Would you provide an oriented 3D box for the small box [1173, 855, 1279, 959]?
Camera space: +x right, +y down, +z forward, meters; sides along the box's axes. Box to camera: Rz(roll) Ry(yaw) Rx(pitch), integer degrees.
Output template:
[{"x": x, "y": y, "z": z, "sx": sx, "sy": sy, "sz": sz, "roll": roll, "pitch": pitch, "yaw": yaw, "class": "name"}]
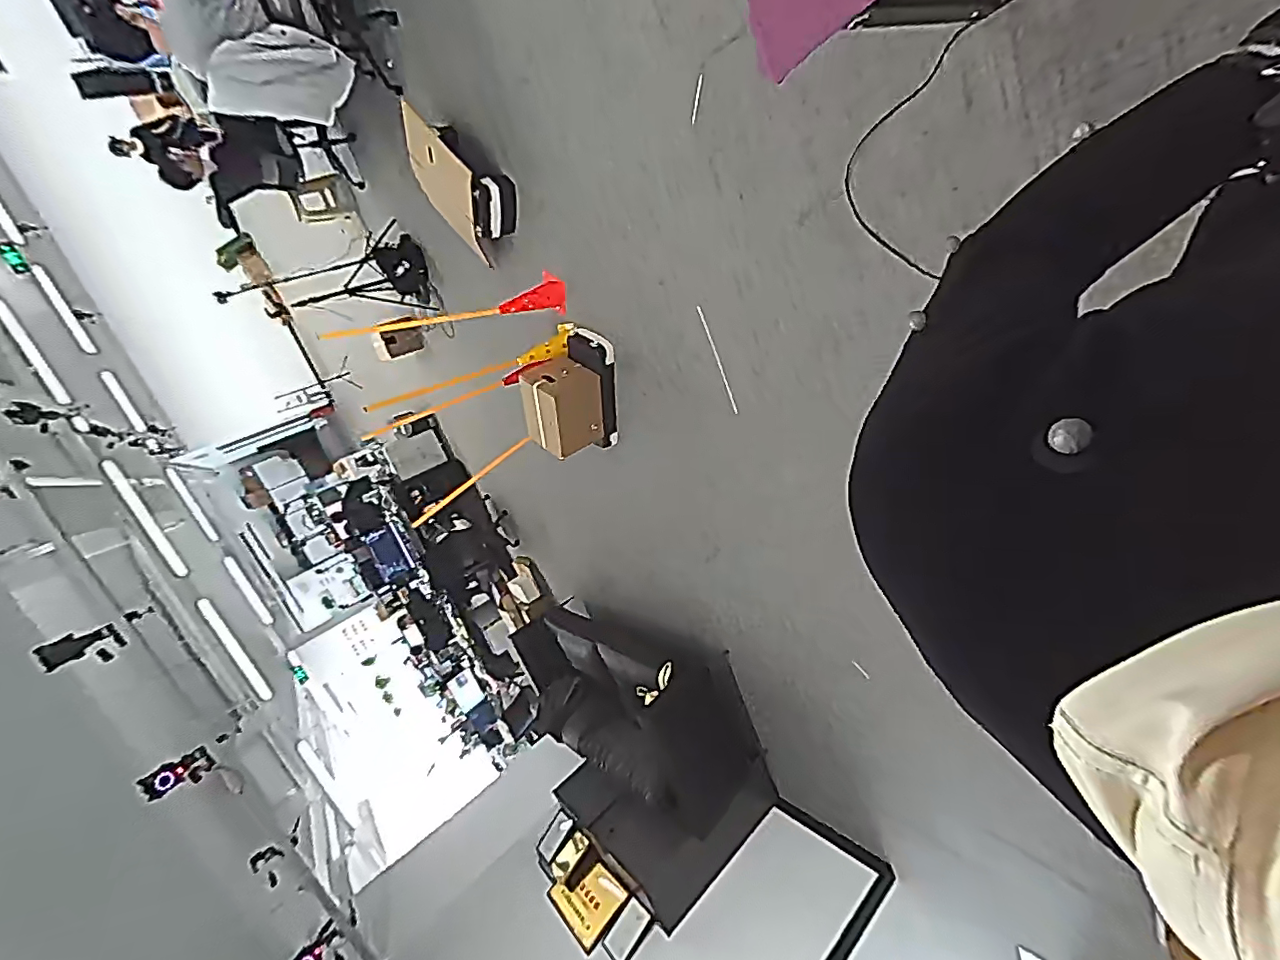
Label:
[{"x": 1.305, "y": 0.986, "z": 1.182, "sx": 0.168, "sy": 0.176, "sz": 0.179, "roll": 4, "pitch": 119, "yaw": 55, "class": "small box"}]
